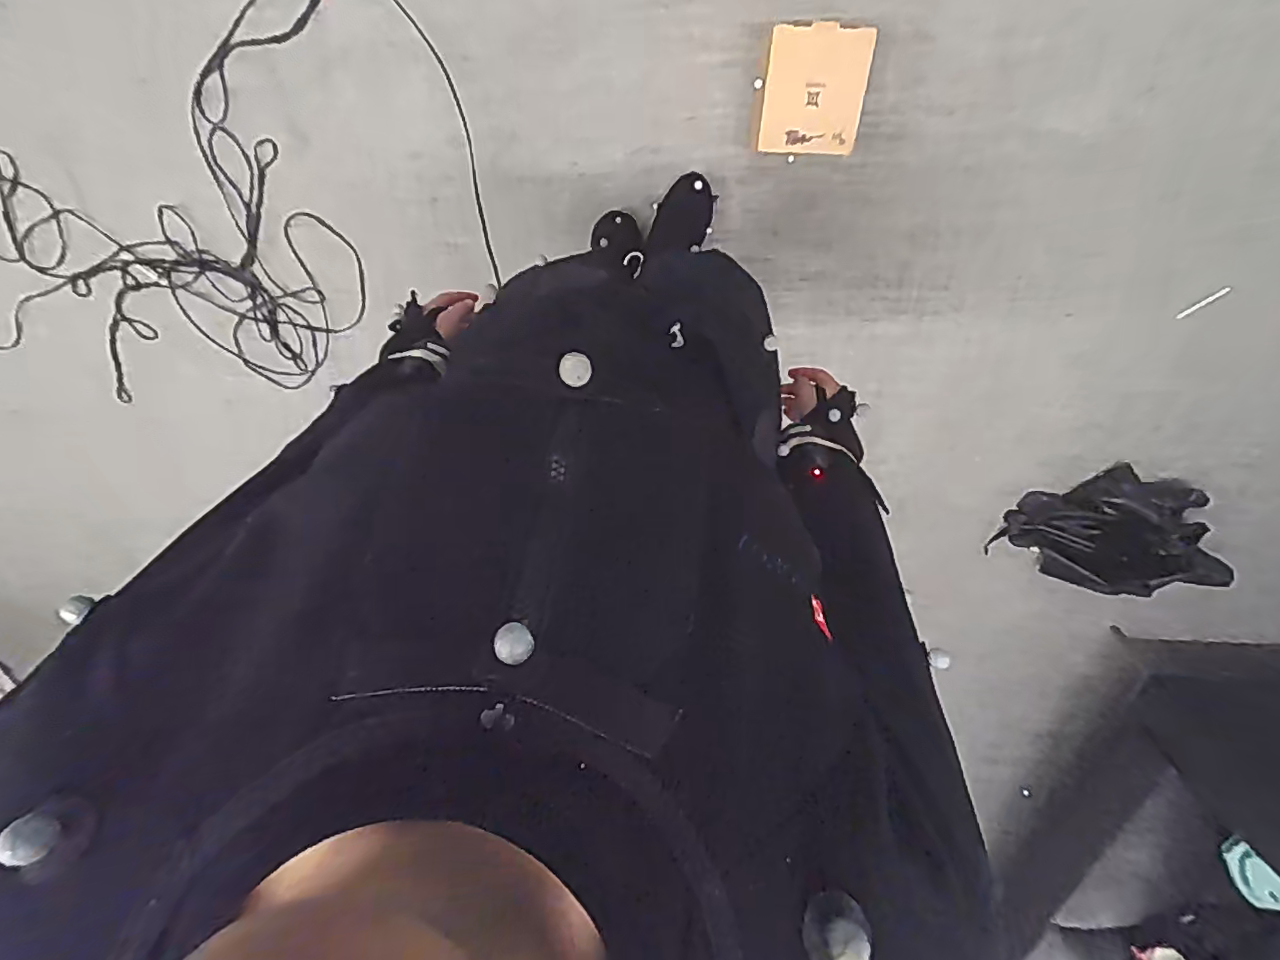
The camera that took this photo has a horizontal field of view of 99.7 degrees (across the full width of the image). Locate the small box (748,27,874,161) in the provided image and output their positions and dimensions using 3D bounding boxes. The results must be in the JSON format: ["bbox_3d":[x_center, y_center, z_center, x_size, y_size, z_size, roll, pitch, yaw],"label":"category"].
[{"bbox_3d":[0.292,-0.677,0.967,0.168,0.176,0.179,4,121,2],"label":"small box"}]
